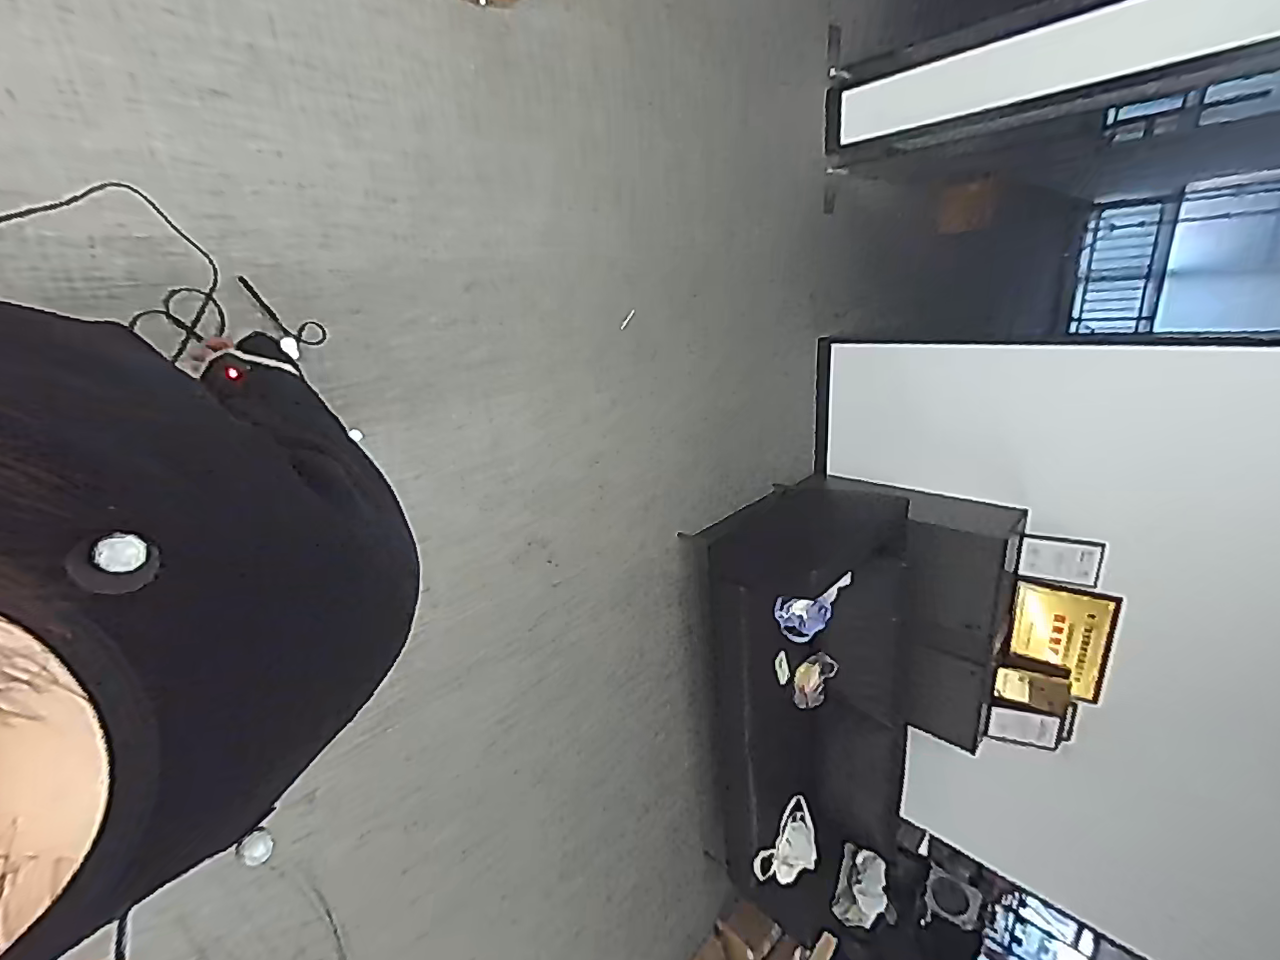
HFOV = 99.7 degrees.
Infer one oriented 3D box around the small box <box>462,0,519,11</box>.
[{"bbox_3d":[-0.381,-1.336,1.360,0.168,0.176,0.179,-25,119,-38],"label":"small box"}]
